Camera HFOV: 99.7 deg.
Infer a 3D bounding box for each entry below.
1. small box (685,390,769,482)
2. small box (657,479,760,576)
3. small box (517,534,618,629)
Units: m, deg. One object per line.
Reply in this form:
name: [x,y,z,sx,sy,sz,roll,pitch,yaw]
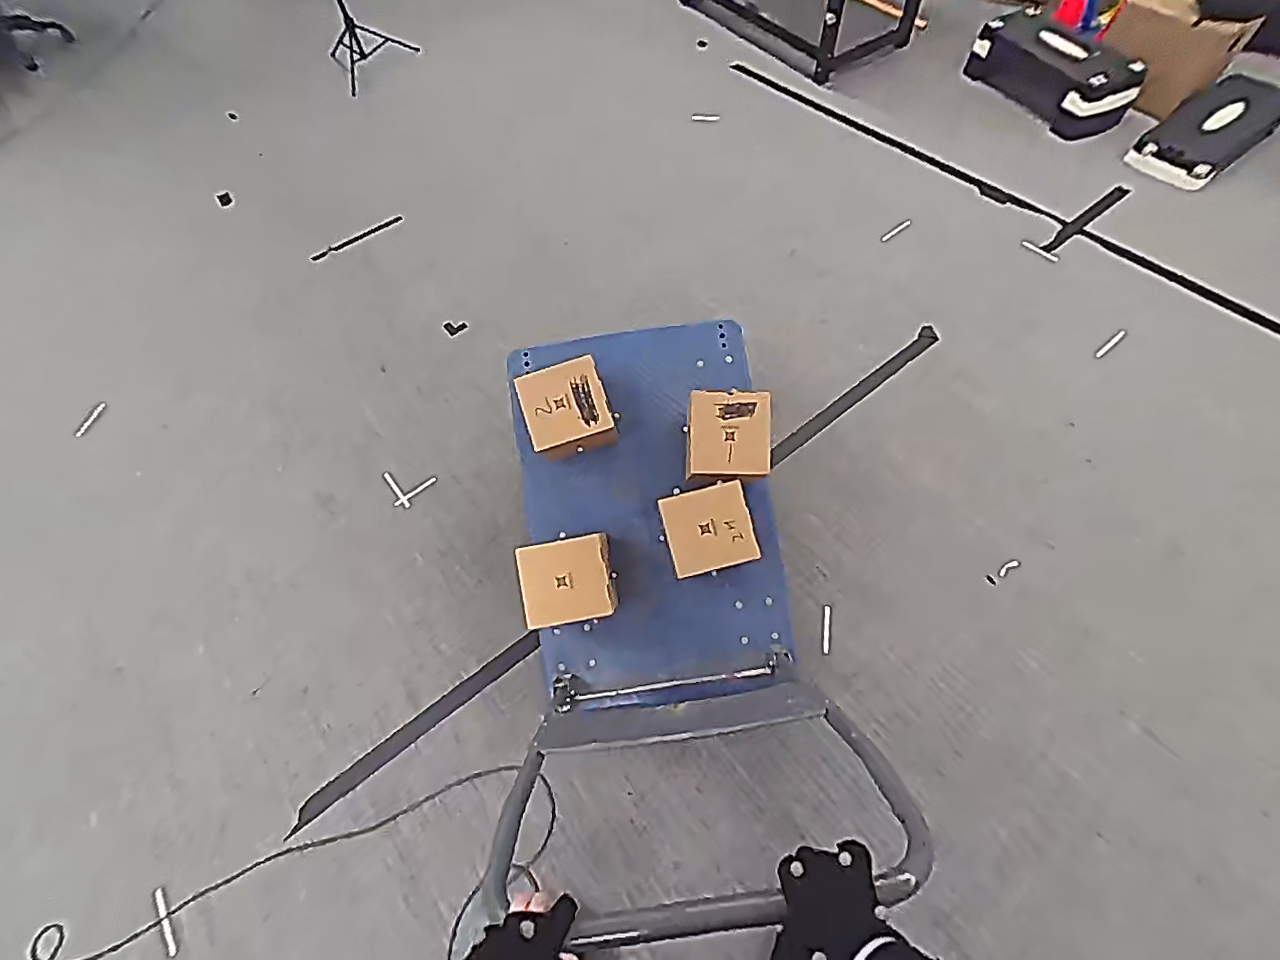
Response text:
small box: [0.186,-0.092,1.192,0.168,0.176,0.179,0,85,2]
small box: [0.142,0.105,1.172,0.179,0.176,0.168,-15,84,0]
small box: [-0.151,0.216,1.168,0.179,0.176,0.168,-12,84,-2]
